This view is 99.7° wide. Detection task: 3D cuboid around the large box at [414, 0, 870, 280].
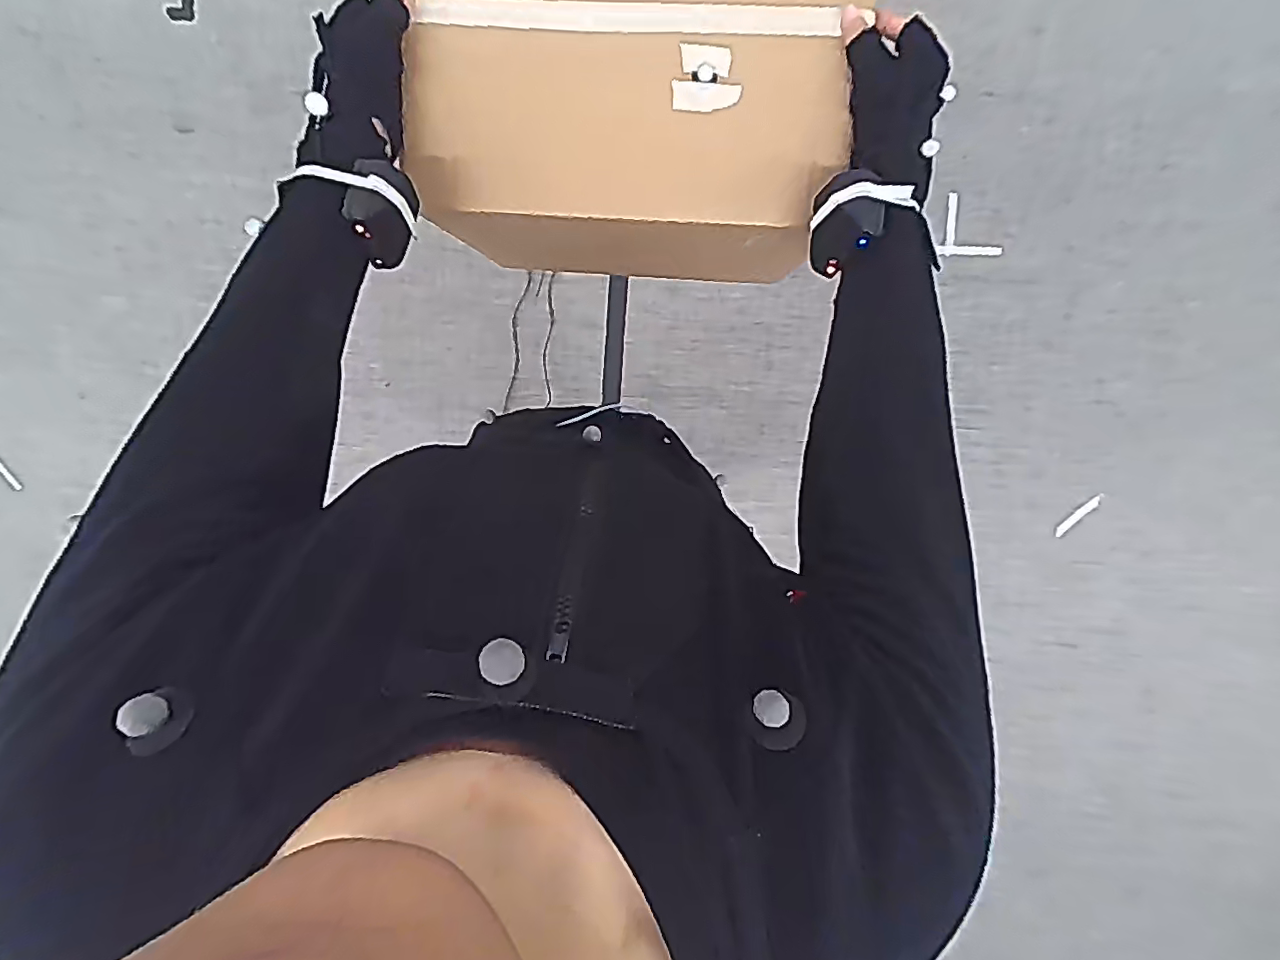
[{"bbox_3d":[0.001,-0.420,0.618,0.408,0.320,0.320,3,102,1],"label":"large box"}]
